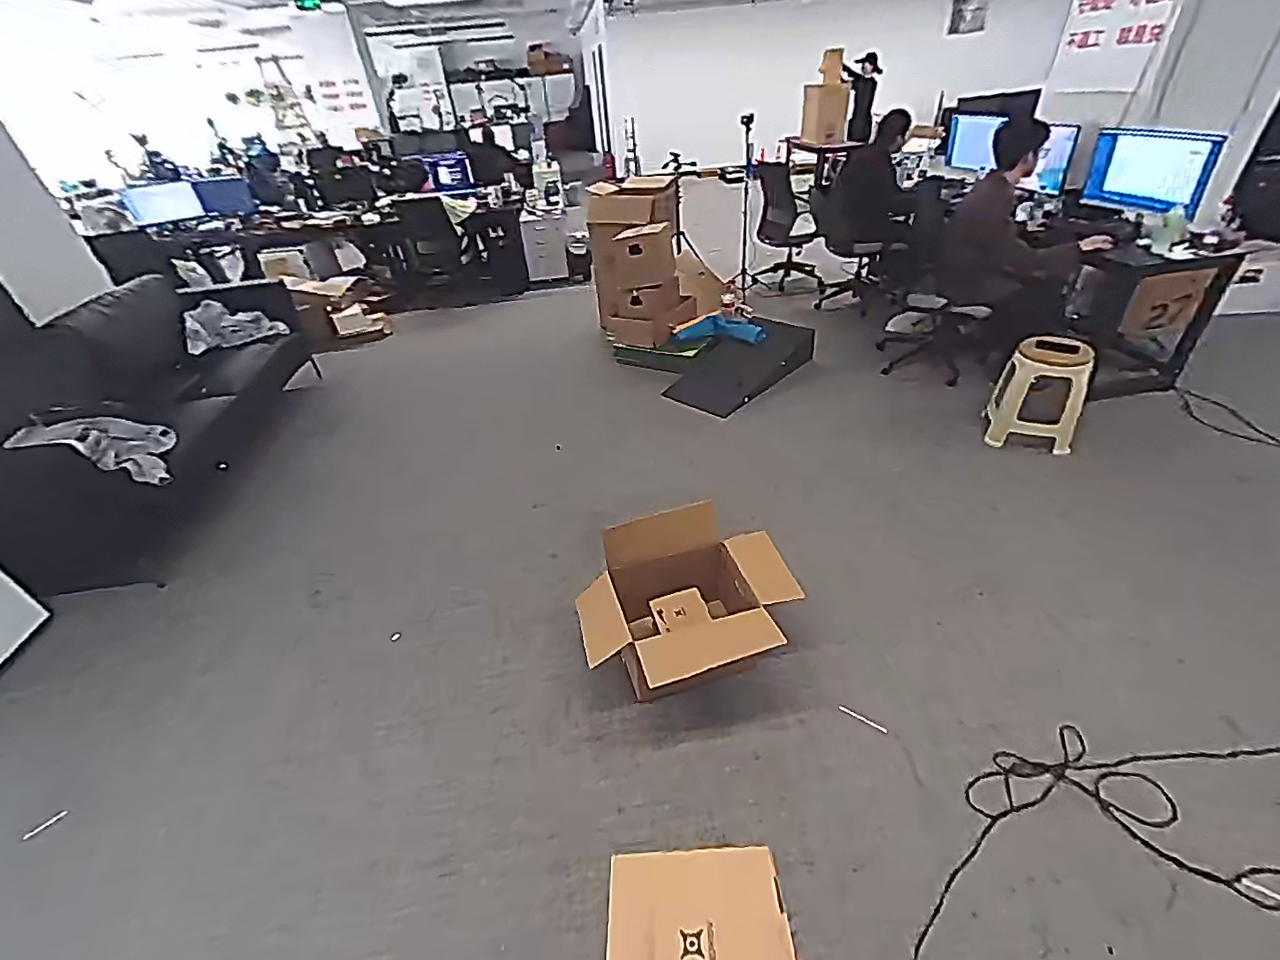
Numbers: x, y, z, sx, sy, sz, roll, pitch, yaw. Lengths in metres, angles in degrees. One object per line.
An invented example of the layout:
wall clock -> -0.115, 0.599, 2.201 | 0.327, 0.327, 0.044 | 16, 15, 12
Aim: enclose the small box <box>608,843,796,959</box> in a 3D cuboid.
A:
small box -> 0.068, 0.503, 0.549 | 0.179, 0.176, 0.168 | -7, 27, 7
